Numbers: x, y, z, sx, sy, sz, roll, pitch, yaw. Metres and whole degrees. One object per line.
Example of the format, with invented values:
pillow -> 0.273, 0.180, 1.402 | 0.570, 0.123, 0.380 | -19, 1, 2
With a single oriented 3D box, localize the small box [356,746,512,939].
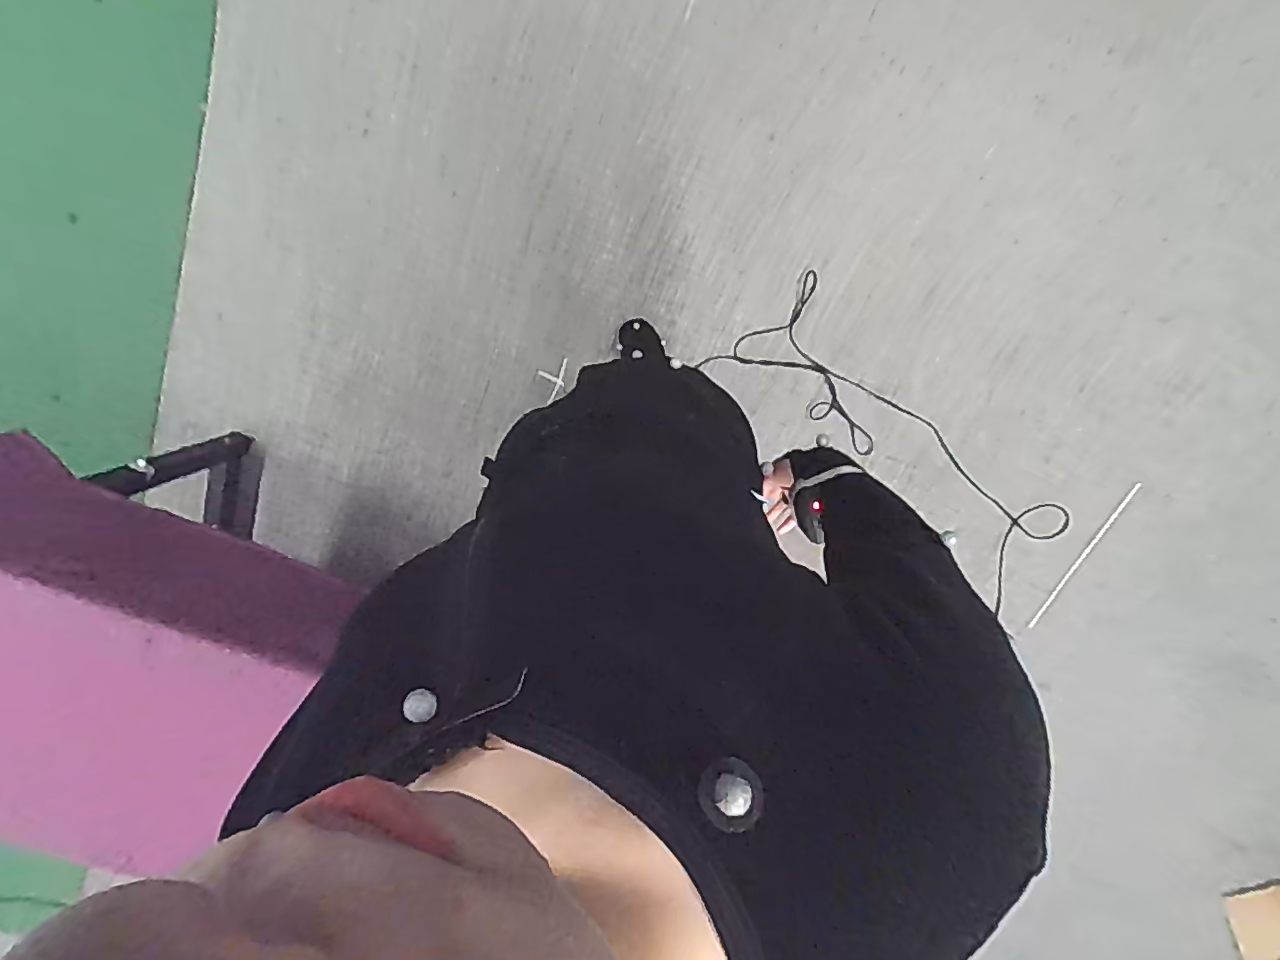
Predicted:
small box -> -0.316, 0.565, 0.861 | 0.168, 0.176, 0.179 | 20, 109, -3
